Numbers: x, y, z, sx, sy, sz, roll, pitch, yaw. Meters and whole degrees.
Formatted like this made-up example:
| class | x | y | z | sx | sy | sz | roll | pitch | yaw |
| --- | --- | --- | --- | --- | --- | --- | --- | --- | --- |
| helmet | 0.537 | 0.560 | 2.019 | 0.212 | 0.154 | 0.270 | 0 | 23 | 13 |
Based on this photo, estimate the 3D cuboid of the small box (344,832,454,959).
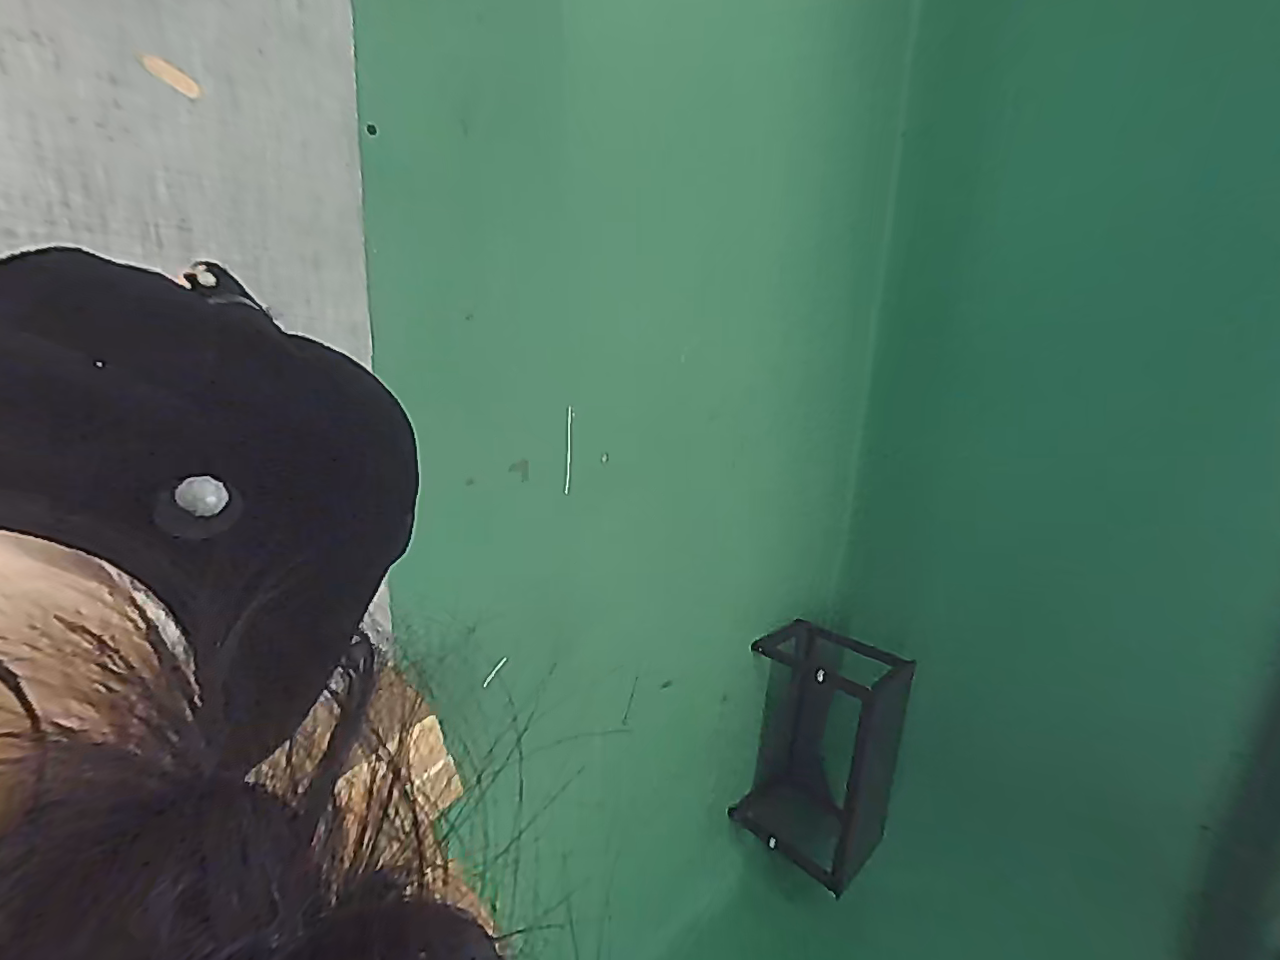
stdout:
| class | x | y | z | sx | sy | sz | roll | pitch | yaw |
| --- | --- | --- | --- | --- | --- | --- | --- | --- | --- |
| small box | -0.497 | 0.889 | 1.139 | 0.168 | 0.176 | 0.179 | -21 | 114 | -41 |

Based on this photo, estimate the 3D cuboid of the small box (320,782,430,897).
| class | x | y | z | sx | sy | sz | roll | pitch | yaw |
| --- | --- | --- | --- | --- | --- | --- | --- | --- | --- |
| small box | -0.606 | 0.853 | 1.256 | 0.179 | 0.176 | 0.168 | -23 | 115 | -40 |

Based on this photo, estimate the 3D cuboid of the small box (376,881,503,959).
| class | x | y | z | sx | sy | sz | roll | pitch | yaw |
| --- | --- | --- | --- | --- | --- | --- | --- | --- | --- |
| small box | -0.377 | 0.919 | 1.030 | 0.168 | 0.176 | 0.179 | -23 | 114 | -40 |

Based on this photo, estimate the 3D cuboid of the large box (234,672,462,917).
| class | x | y | z | sx | sy | sz | roll | pitch | yaw |
| --- | --- | --- | --- | --- | --- | --- | --- | --- | --- |
| large box | -0.762 | 0.799 | 1.439 | 0.408 | 0.320 | 0.320 | -28 | 121 | -40 |
